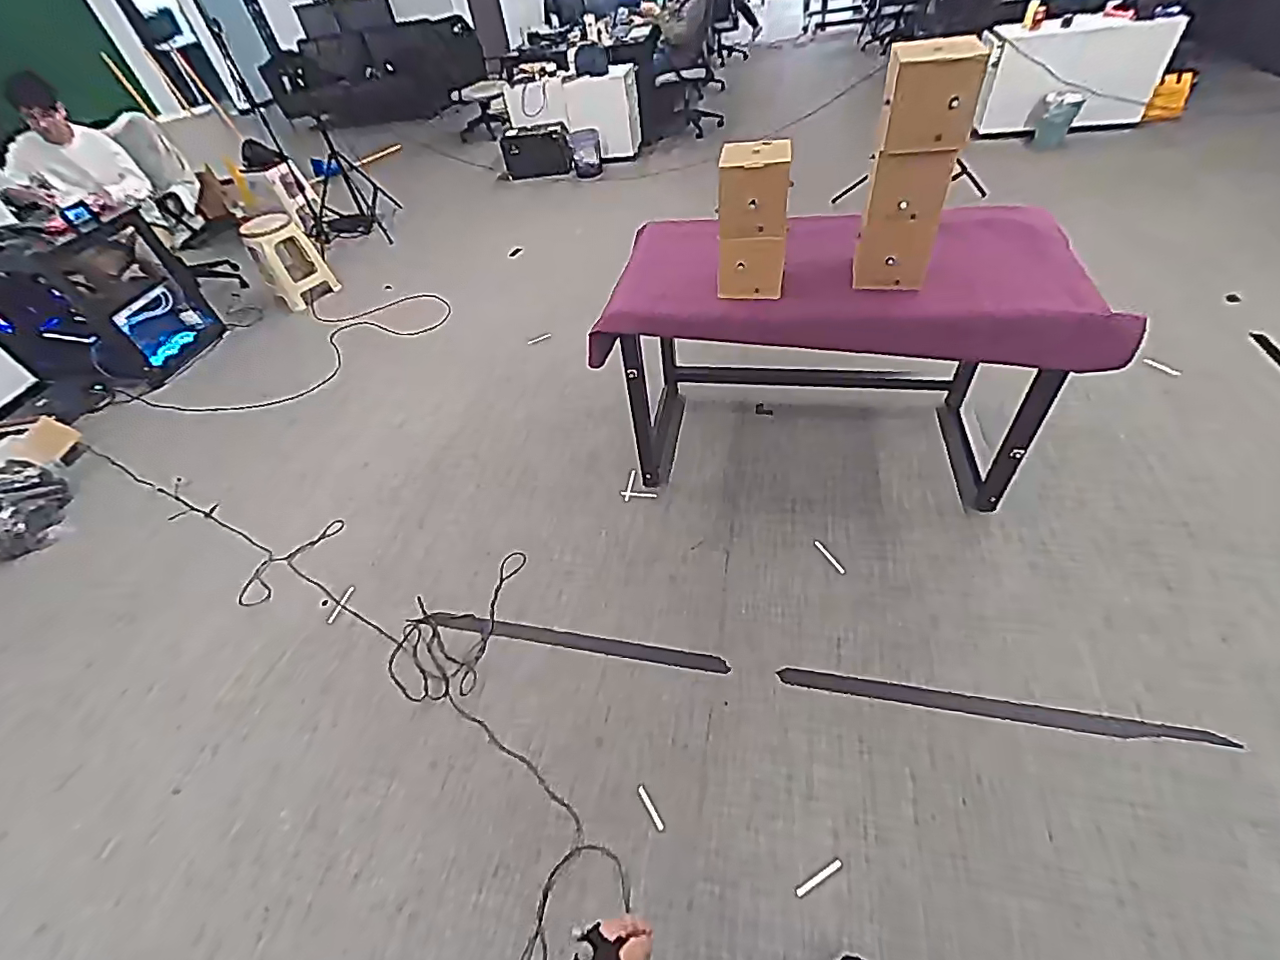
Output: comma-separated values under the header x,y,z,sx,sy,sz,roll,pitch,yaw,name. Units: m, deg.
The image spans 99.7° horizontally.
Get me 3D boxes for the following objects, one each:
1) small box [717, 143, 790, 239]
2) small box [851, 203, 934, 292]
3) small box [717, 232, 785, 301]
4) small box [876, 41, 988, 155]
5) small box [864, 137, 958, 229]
x,y,z,sx,sy,sz,roll,pitch,yaw,name
0.284,-0.718,1.352,0.168,0.176,0.179,4,47,12,small box
0.655,-0.609,1.416,0.168,0.176,0.179,7,48,15,small box
0.303,-0.600,1.465,0.168,0.176,0.179,5,47,13,small box
0.618,-0.817,1.167,0.168,0.176,0.179,4,47,12,small box
0.640,-0.723,1.299,0.168,0.176,0.179,6,49,15,small box
